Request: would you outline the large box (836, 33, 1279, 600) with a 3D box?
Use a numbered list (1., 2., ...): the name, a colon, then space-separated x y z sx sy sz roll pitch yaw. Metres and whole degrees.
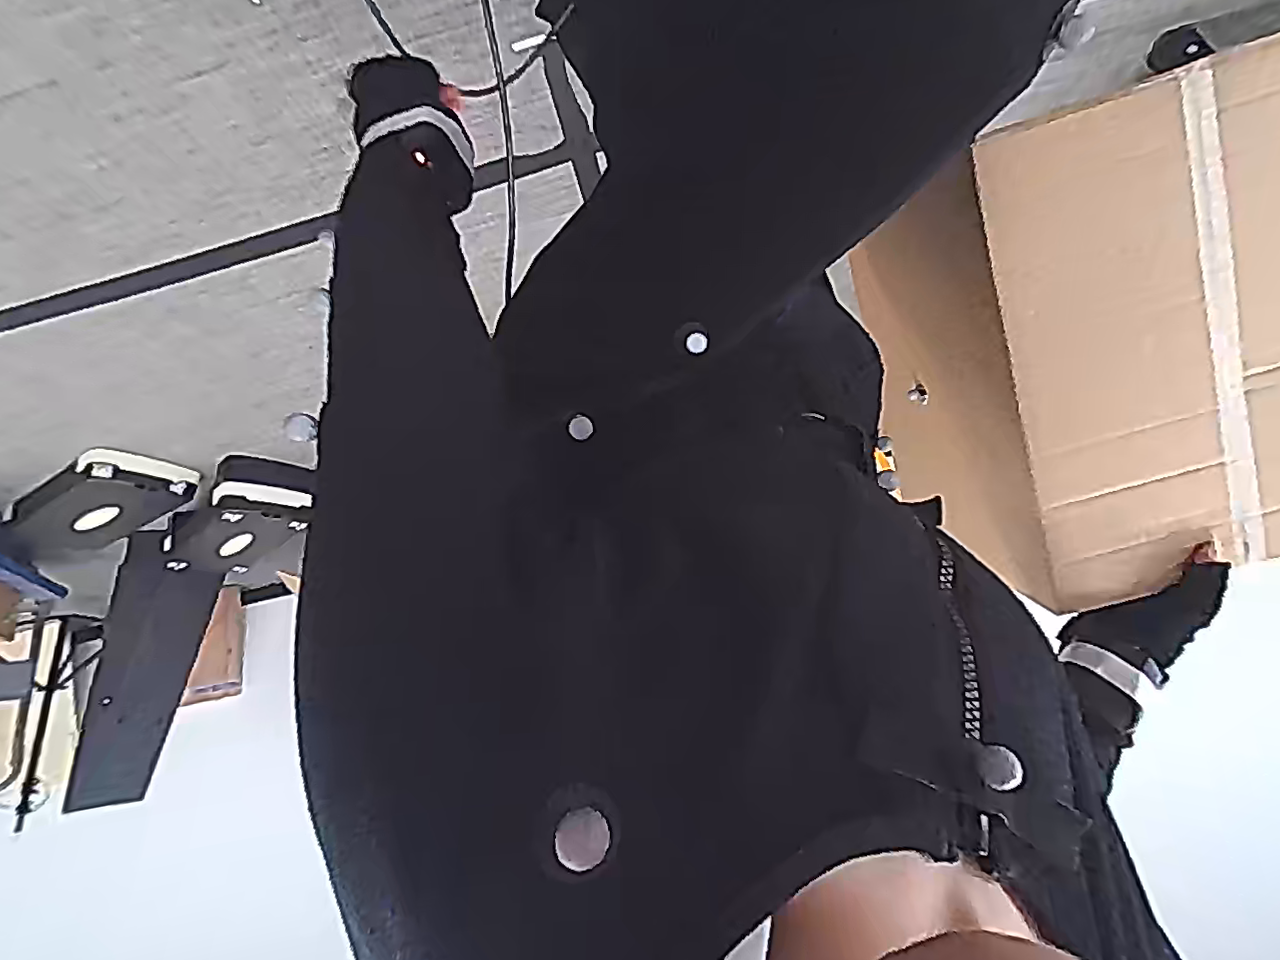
1. large box: 0.452 -0.149 0.585 0.320 0.408 0.320 -16 -169 7
